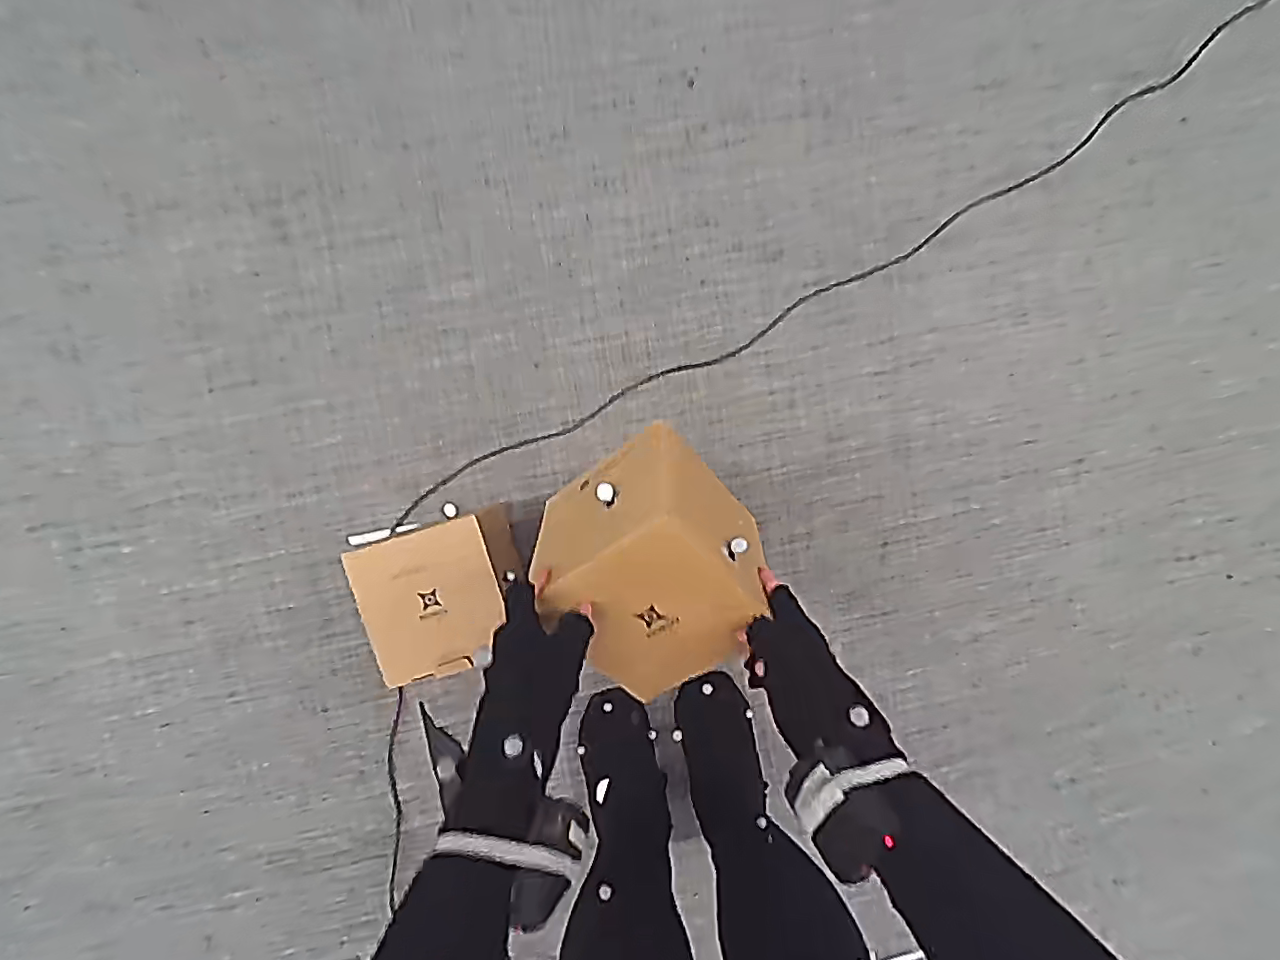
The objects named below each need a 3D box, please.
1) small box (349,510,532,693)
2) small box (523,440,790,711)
[{"bbox_3d":[-0.252,0.151,0.733,0.168,0.176,0.179,-16,94,-3],"label":"small box"},{"bbox_3d":[0.014,0.084,0.531,0.168,0.176,0.179,-36,118,21],"label":"small box"}]
